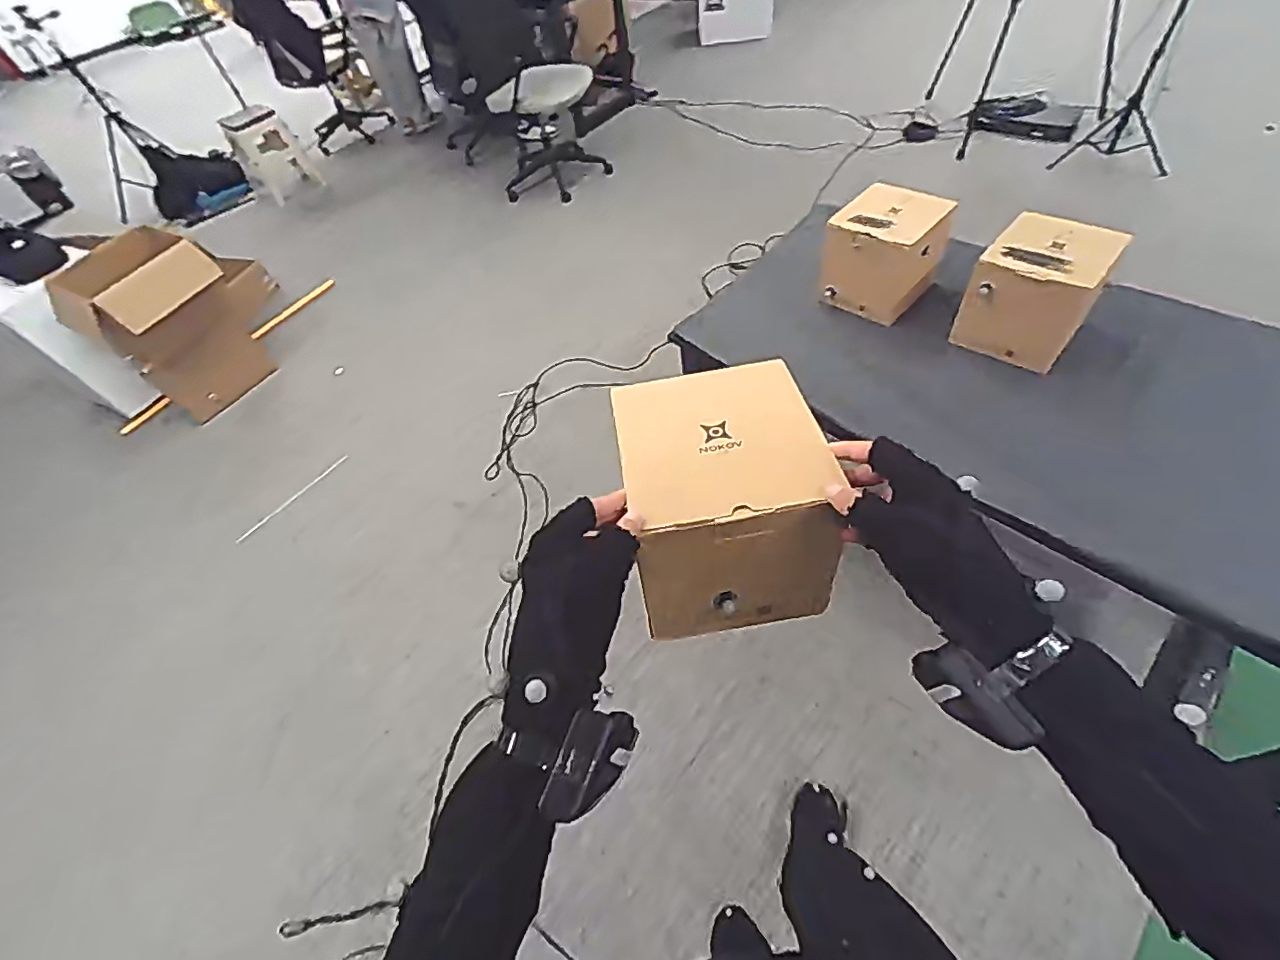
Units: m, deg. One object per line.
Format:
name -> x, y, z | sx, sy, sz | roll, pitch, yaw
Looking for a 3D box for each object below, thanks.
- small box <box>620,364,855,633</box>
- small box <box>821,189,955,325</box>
small box -> 0.078, 0.019, 0.512 | 0.168, 0.176, 0.179 | -10, 47, 0
small box -> 0.474, -0.434, 1.061 | 0.168, 0.176, 0.179 | 35, 66, 30
